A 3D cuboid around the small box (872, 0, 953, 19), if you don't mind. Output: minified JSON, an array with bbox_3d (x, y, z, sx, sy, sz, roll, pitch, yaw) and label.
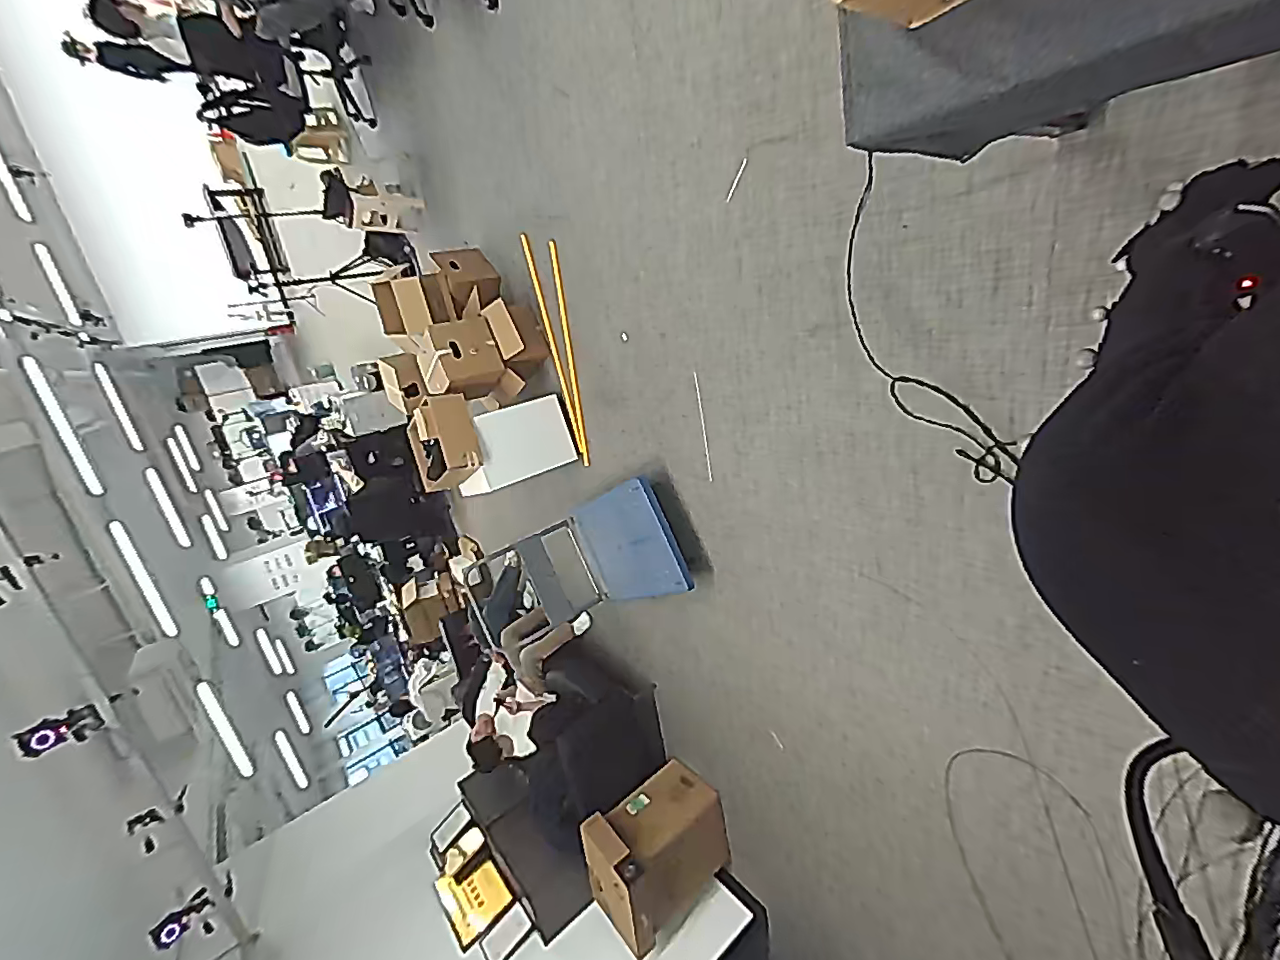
[{"bbox_3d":[0.296,-0.595,0.520,0.168,0.176,0.179,10,118,51],"label":"small box"}]
